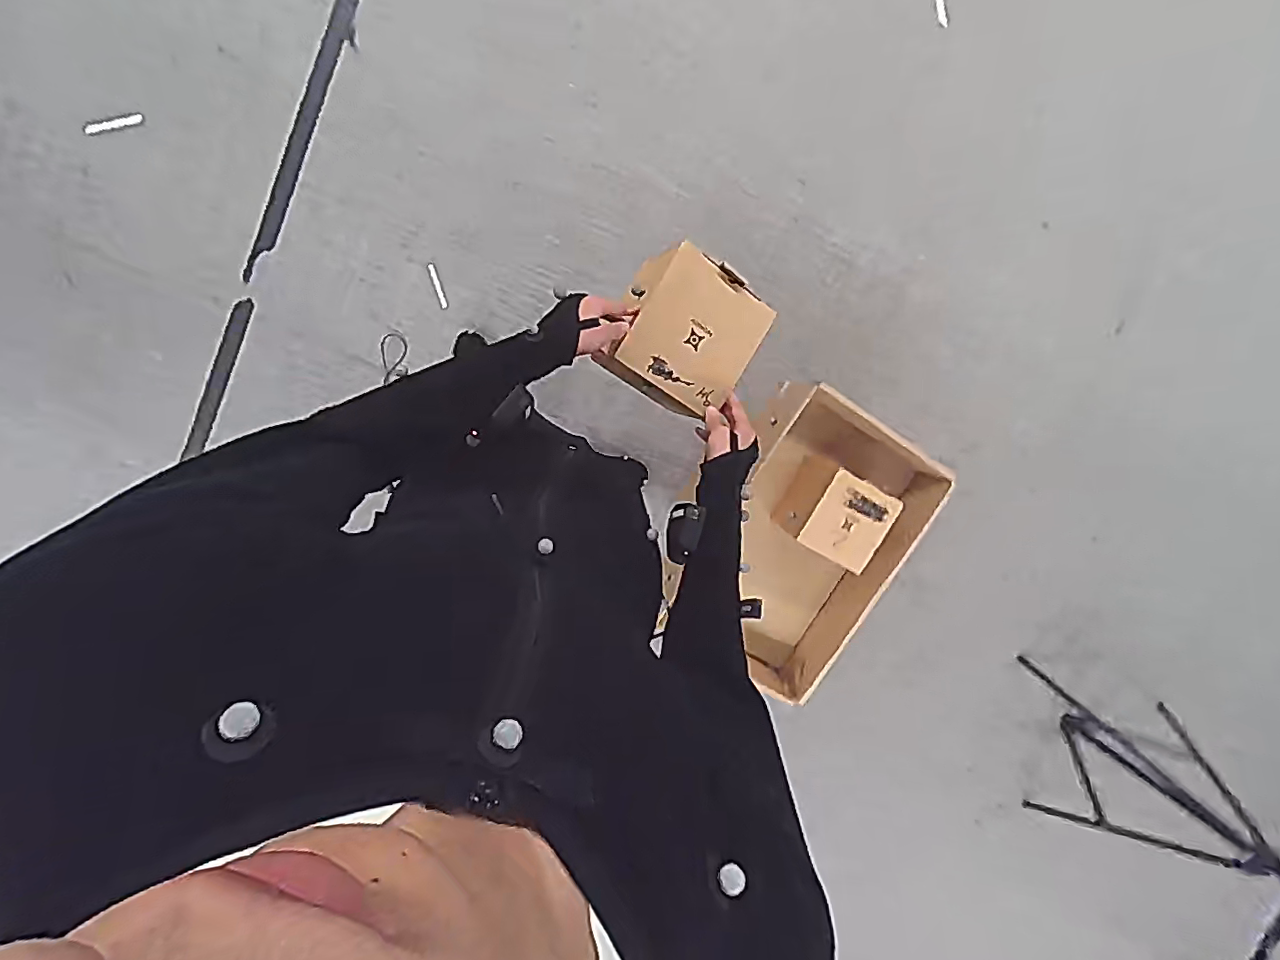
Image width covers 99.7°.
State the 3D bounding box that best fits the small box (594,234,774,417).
[{"bbox_3d":[0.051,-0.213,0.777,0.168,0.176,0.179,30,92,-20],"label":"small box"}]
